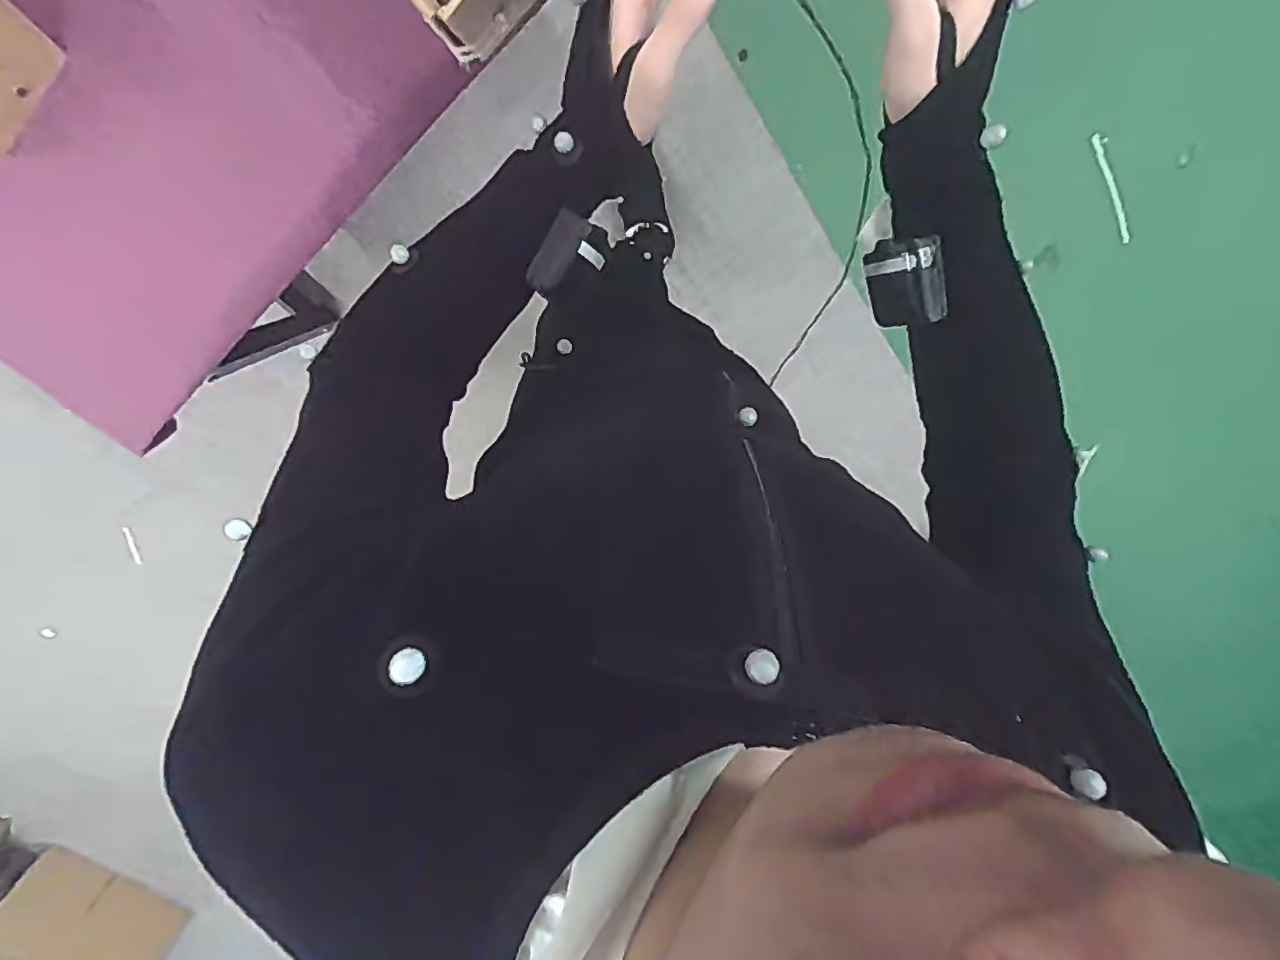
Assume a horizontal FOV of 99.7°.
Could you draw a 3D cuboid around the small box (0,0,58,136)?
[{"bbox_3d":[-0.769,-0.465,0.538,0.168,0.176,0.179,-38,112,13],"label":"small box"}]
